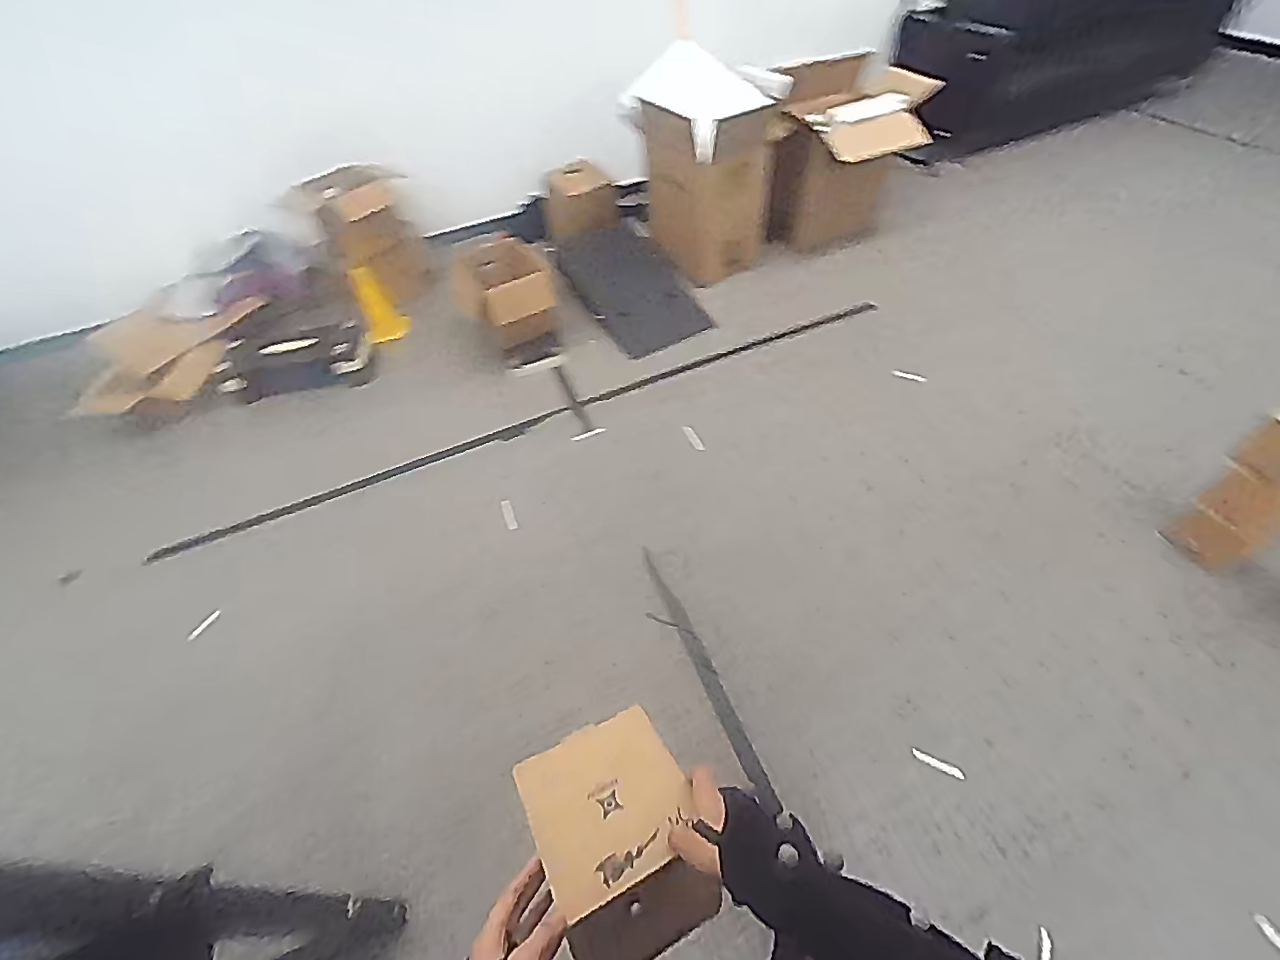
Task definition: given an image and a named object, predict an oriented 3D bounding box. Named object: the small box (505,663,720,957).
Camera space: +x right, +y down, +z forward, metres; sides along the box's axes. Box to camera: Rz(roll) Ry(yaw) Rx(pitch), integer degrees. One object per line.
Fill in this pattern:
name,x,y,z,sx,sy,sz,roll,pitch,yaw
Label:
small box,-0.029,0.341,0.577,0.168,0.176,0.179,-20,33,-20
